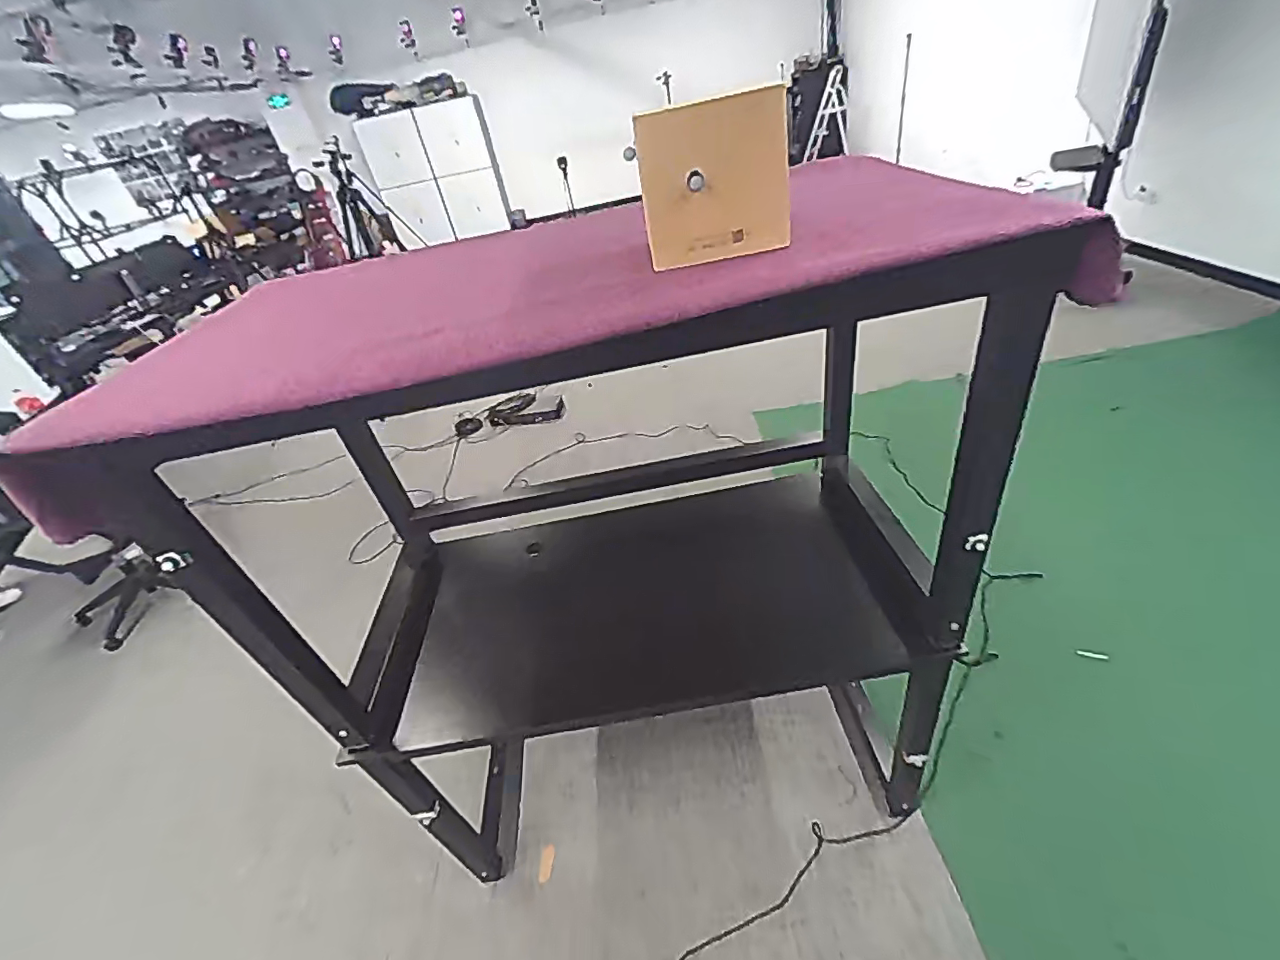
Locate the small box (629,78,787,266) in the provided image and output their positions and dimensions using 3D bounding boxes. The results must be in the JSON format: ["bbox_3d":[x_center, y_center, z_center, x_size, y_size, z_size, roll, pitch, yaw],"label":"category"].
[{"bbox_3d":[0.084,-0.380,0.677,0.168,0.176,0.179,-9,34,6],"label":"small box"}]
